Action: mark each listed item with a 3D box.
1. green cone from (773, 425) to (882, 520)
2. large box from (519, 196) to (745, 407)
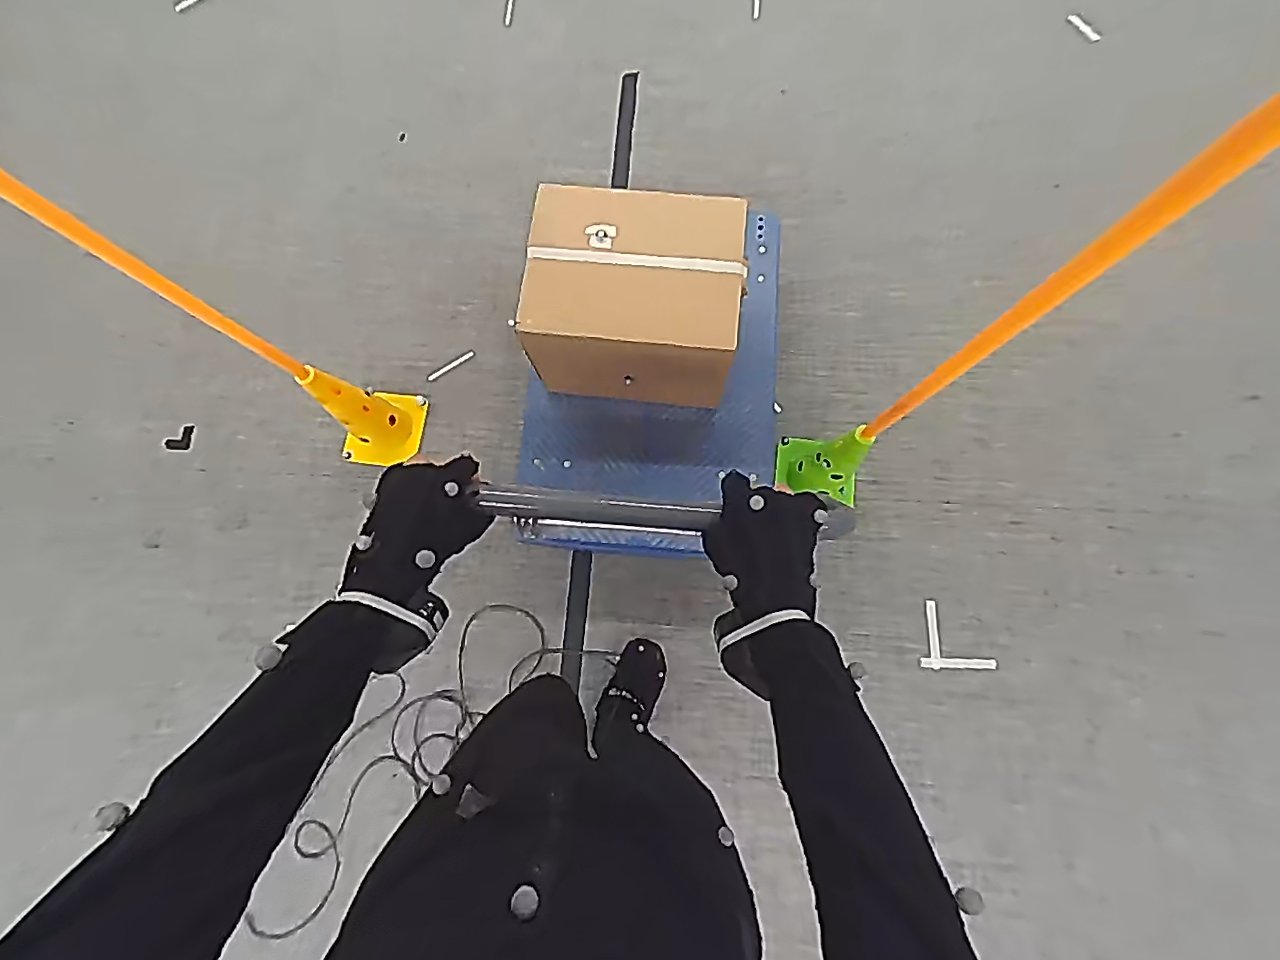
[{"bbox_3d":[0.443,-0.045,1.214,0.202,0.368,0.200,8,77,2],"label":"green cone"},{"bbox_3d":[-0.002,-0.360,1.156,0.408,0.320,0.320,6,78,4],"label":"large box"}]
